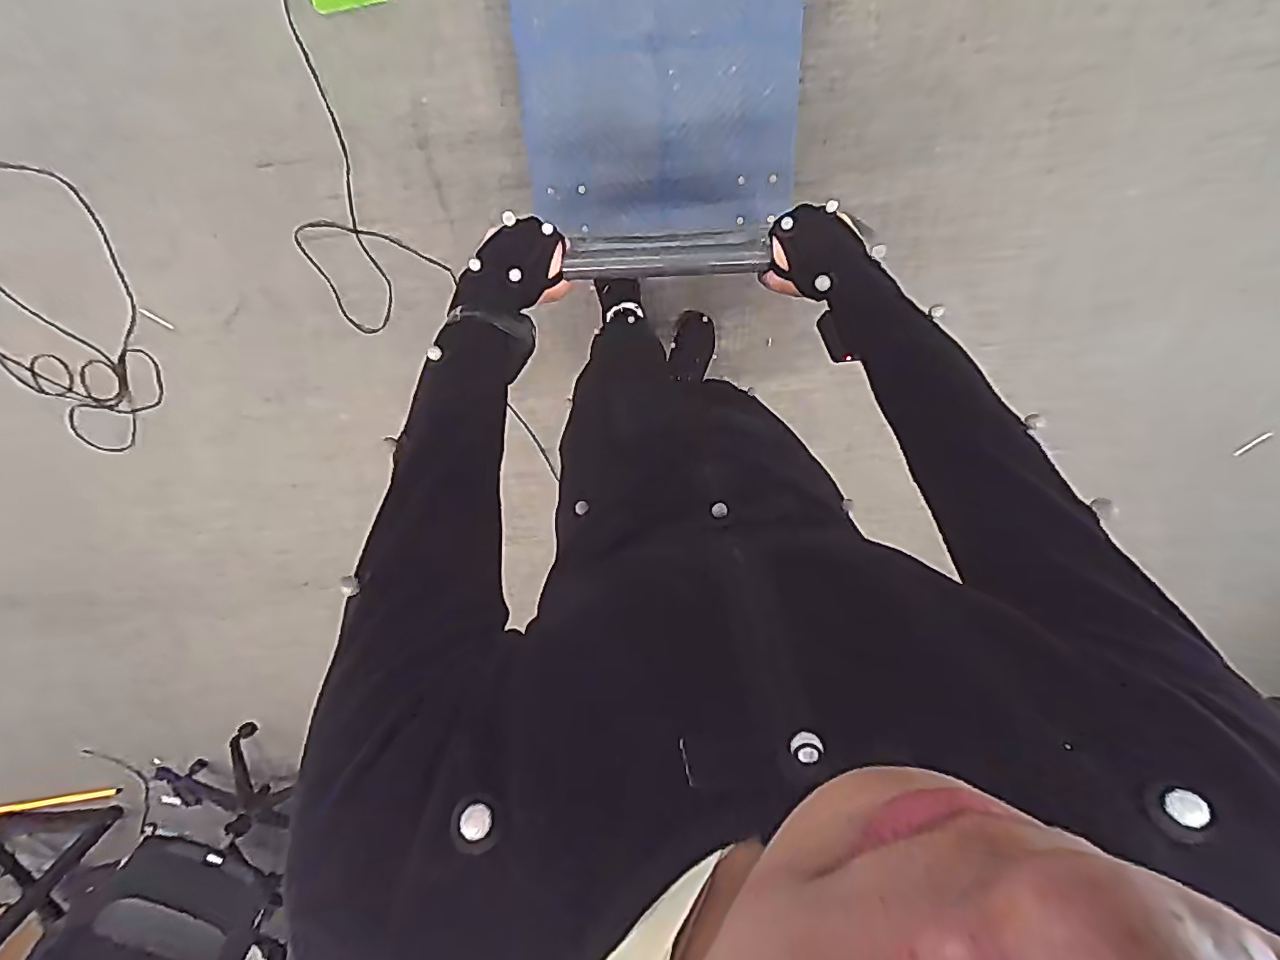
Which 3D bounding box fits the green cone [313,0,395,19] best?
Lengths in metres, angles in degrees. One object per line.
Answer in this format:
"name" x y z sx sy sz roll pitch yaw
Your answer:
"green cone" -0.654 -1.070 1.015 0.202 0.368 0.200 -7 114 7
